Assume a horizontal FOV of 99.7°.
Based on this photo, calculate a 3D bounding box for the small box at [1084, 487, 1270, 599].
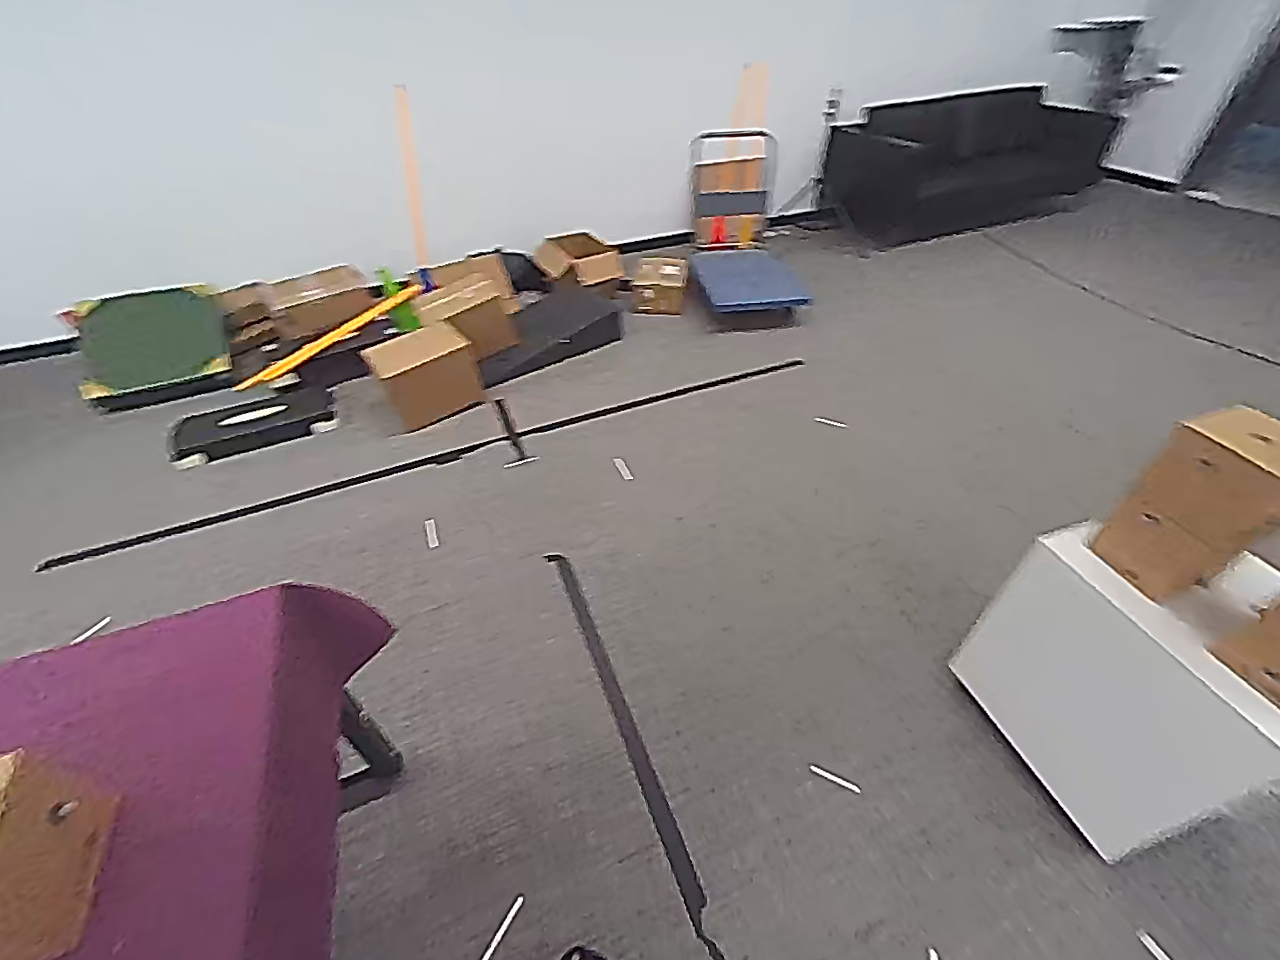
[{"bbox_3d":[1.070,0.114,1.096,0.179,0.176,0.168,-11,44,-12],"label":"small box"}]

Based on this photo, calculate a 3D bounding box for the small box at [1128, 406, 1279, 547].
[{"bbox_3d":[1.064,-0.008,0.983,0.168,0.176,0.179,-13,44,-12],"label":"small box"}]

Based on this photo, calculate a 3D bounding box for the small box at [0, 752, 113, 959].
[{"bbox_3d":[-0.742,0.437,0.586,0.179,0.176,0.168,-17,44,-16],"label":"small box"}]
